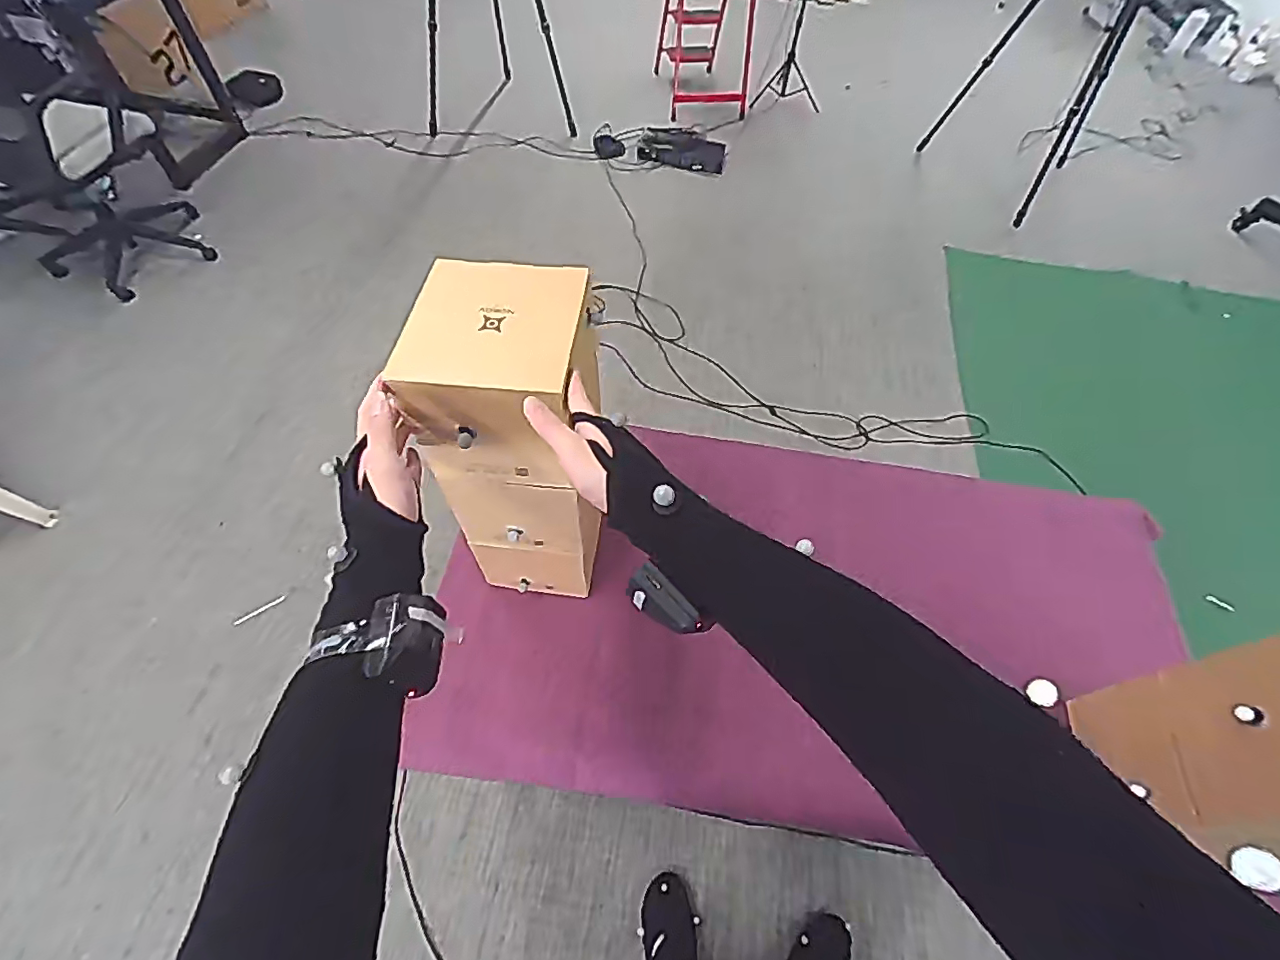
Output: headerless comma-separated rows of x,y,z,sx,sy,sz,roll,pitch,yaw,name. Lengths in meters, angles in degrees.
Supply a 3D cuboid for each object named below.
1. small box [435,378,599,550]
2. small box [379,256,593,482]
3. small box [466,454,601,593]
-0.149,-0.027,0.728,0.168,0.176,0.179,7,58,2,small box
-0.145,-0.114,0.588,0.168,0.176,0.179,5,57,2,small box
-0.158,0.061,0.865,0.168,0.176,0.179,7,58,2,small box
